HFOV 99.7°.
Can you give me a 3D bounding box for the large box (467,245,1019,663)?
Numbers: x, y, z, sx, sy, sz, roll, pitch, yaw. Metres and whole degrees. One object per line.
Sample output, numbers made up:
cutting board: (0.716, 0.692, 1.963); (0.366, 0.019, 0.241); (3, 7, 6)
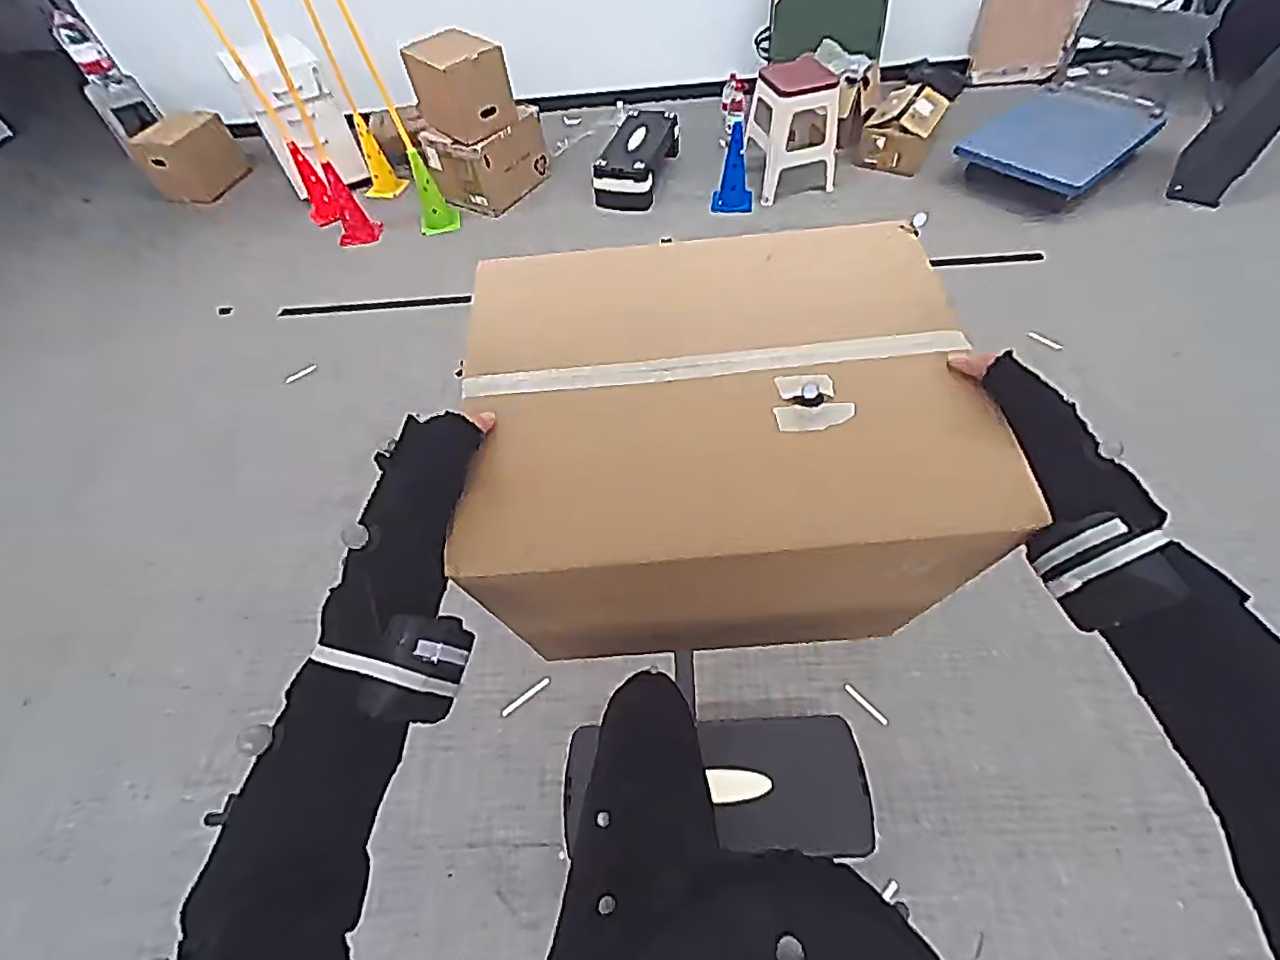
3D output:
large box: (0.068, -0.007, 0.584); (0.408, 0.320, 0.320); (-5, 61, 1)
